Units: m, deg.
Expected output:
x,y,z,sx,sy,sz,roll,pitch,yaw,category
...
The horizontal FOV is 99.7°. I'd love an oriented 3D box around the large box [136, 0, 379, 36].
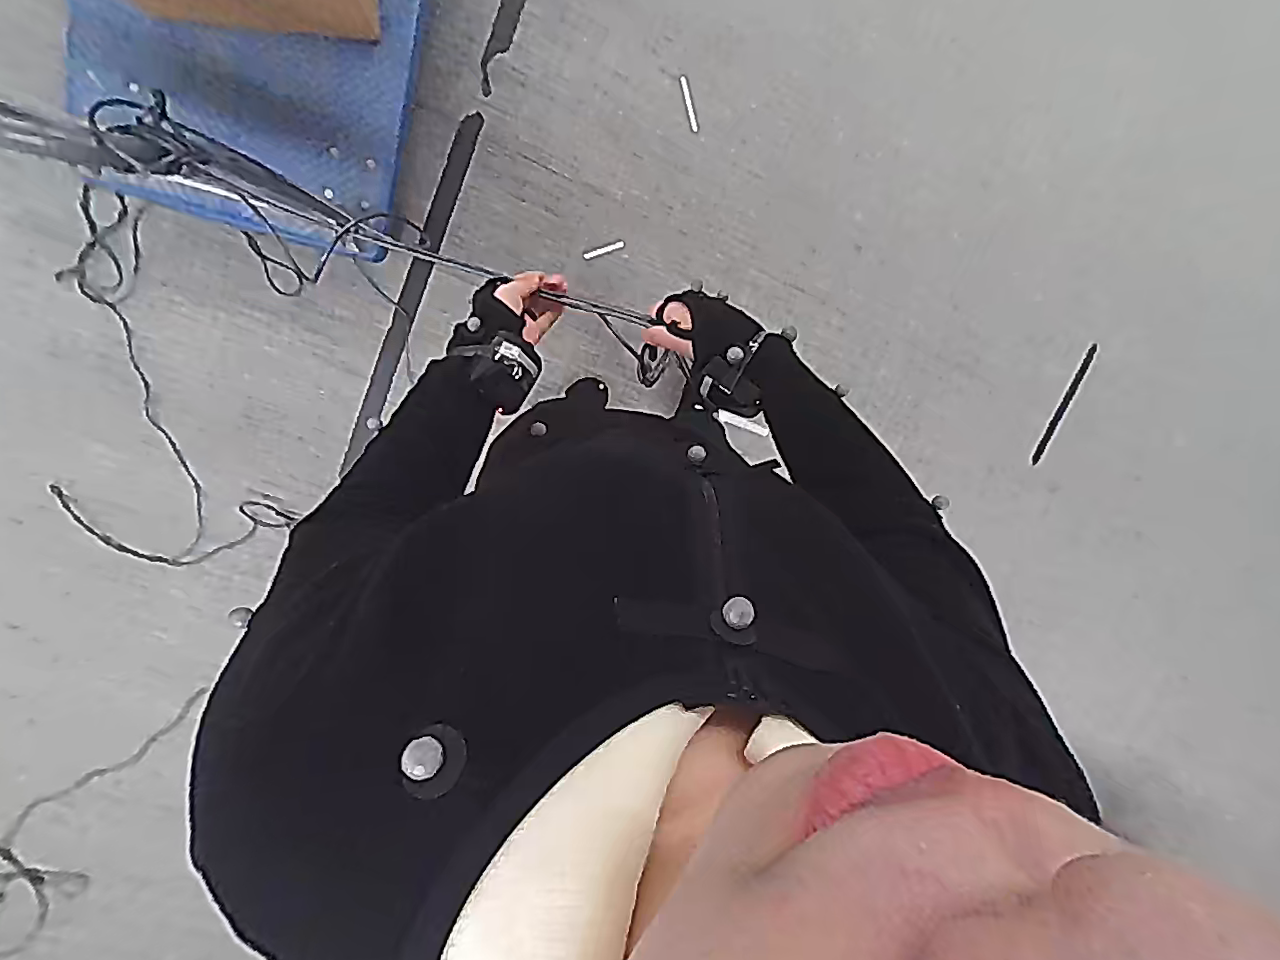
x,y,z,sx,sy,sz,roll,pitch,yaw,category
-0.671,-0.964,0.839,0.408,0.320,0.320,-1,104,-9,large box
